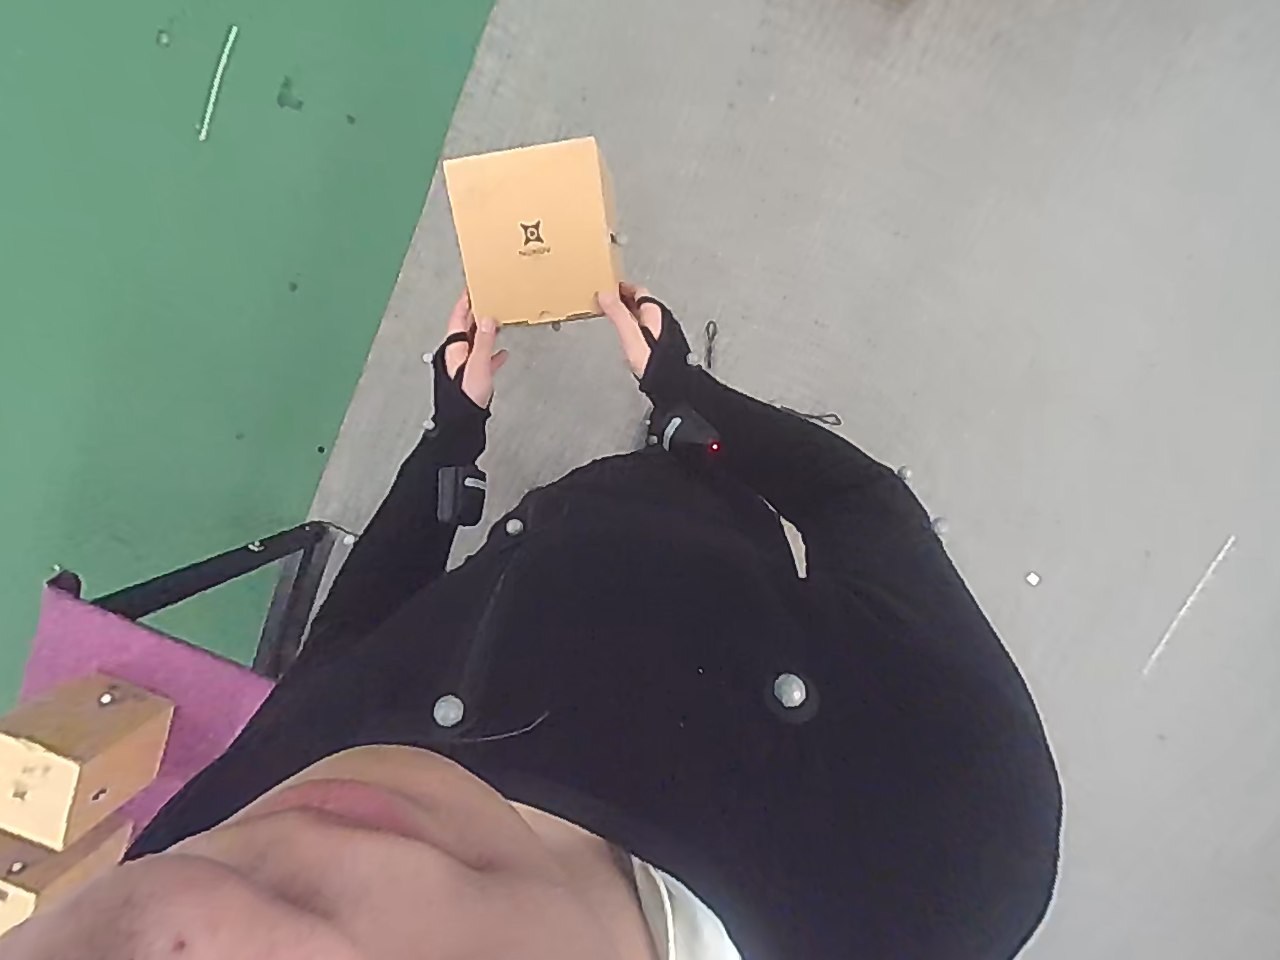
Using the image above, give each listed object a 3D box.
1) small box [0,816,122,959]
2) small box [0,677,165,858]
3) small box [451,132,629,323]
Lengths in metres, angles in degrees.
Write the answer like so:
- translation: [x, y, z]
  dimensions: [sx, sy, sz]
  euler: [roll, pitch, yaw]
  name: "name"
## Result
- translation: [-1.085, 0.717, 0.960]
  dimensions: [0.168, 0.176, 0.179]
  euler: [22, 99, -1]
  name: "small box"
- translation: [-0.964, 0.475, 0.914]
  dimensions: [0.168, 0.176, 0.179]
  euler: [23, 100, -2]
  name: "small box"
- translation: [-0.106, -0.290, 0.655]
  dimensions: [0.168, 0.176, 0.179]
  euler: [-6, 108, 4]
  name: "small box"
